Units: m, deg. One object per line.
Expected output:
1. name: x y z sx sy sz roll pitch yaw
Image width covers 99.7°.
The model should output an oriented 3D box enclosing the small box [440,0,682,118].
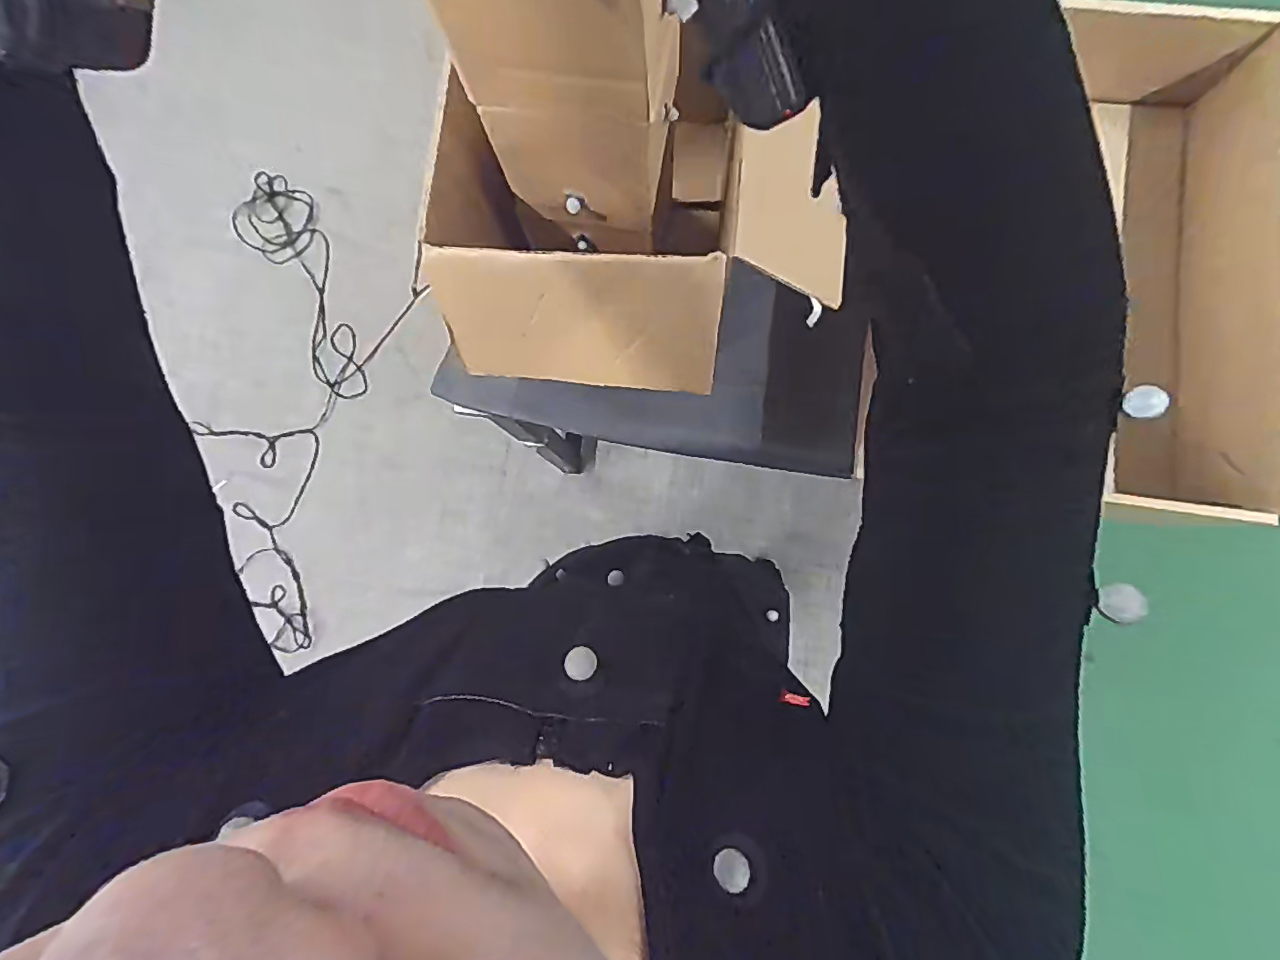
1. small box: -0.061 -0.428 0.428 0.179 0.176 0.168 11 84 3

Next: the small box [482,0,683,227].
1. small box: -0.051 -0.412 0.588 0.168 0.176 0.179 10 86 4
